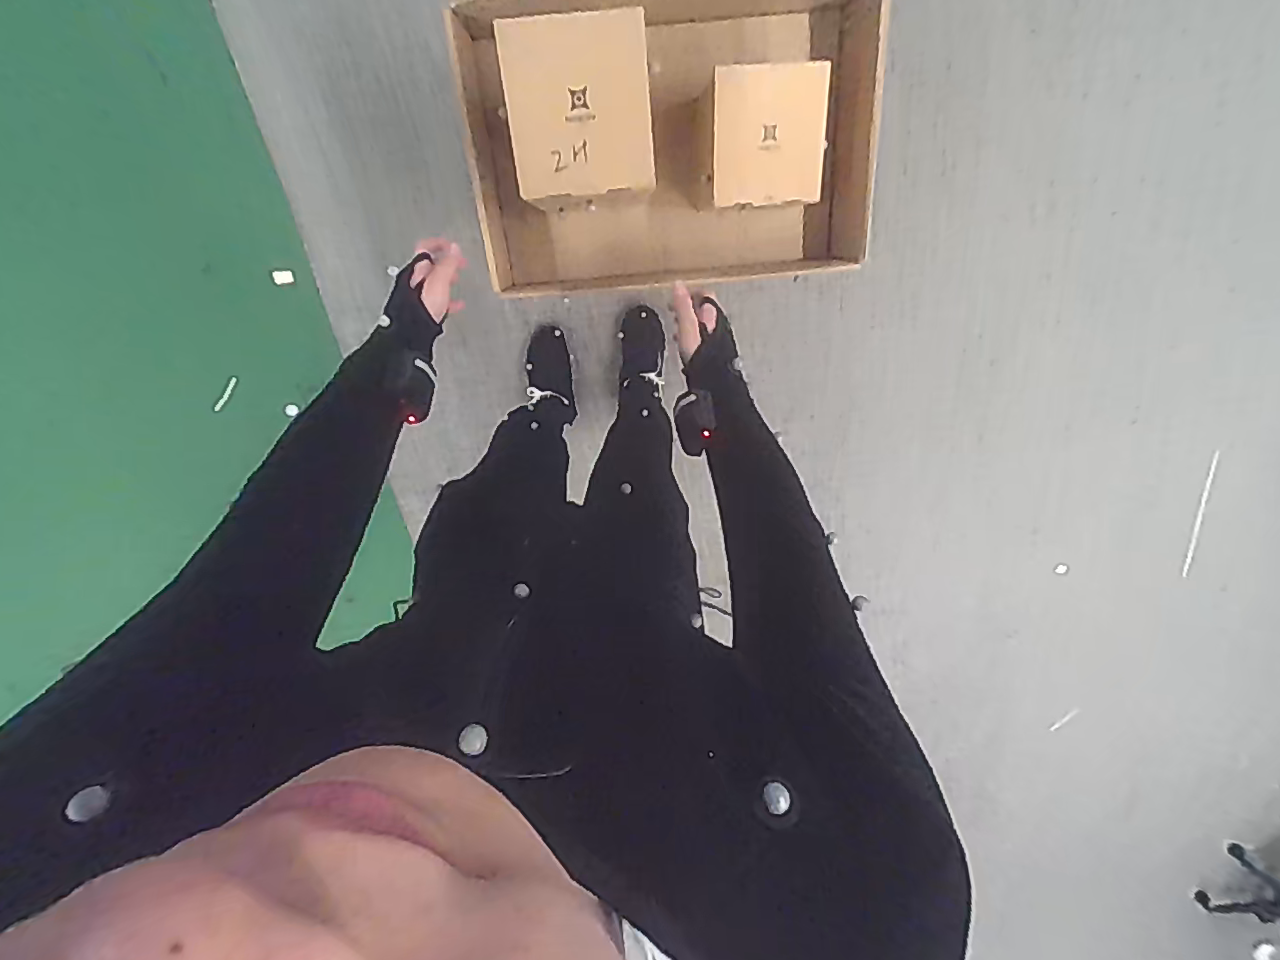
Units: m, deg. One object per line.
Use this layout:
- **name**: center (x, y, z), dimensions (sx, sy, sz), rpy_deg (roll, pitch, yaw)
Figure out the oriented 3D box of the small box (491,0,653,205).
- **small box**: center (-0.075, -0.454, 0.678), dimensions (0.168, 0.176, 0.179), rpy_deg (-5, 114, 1)
